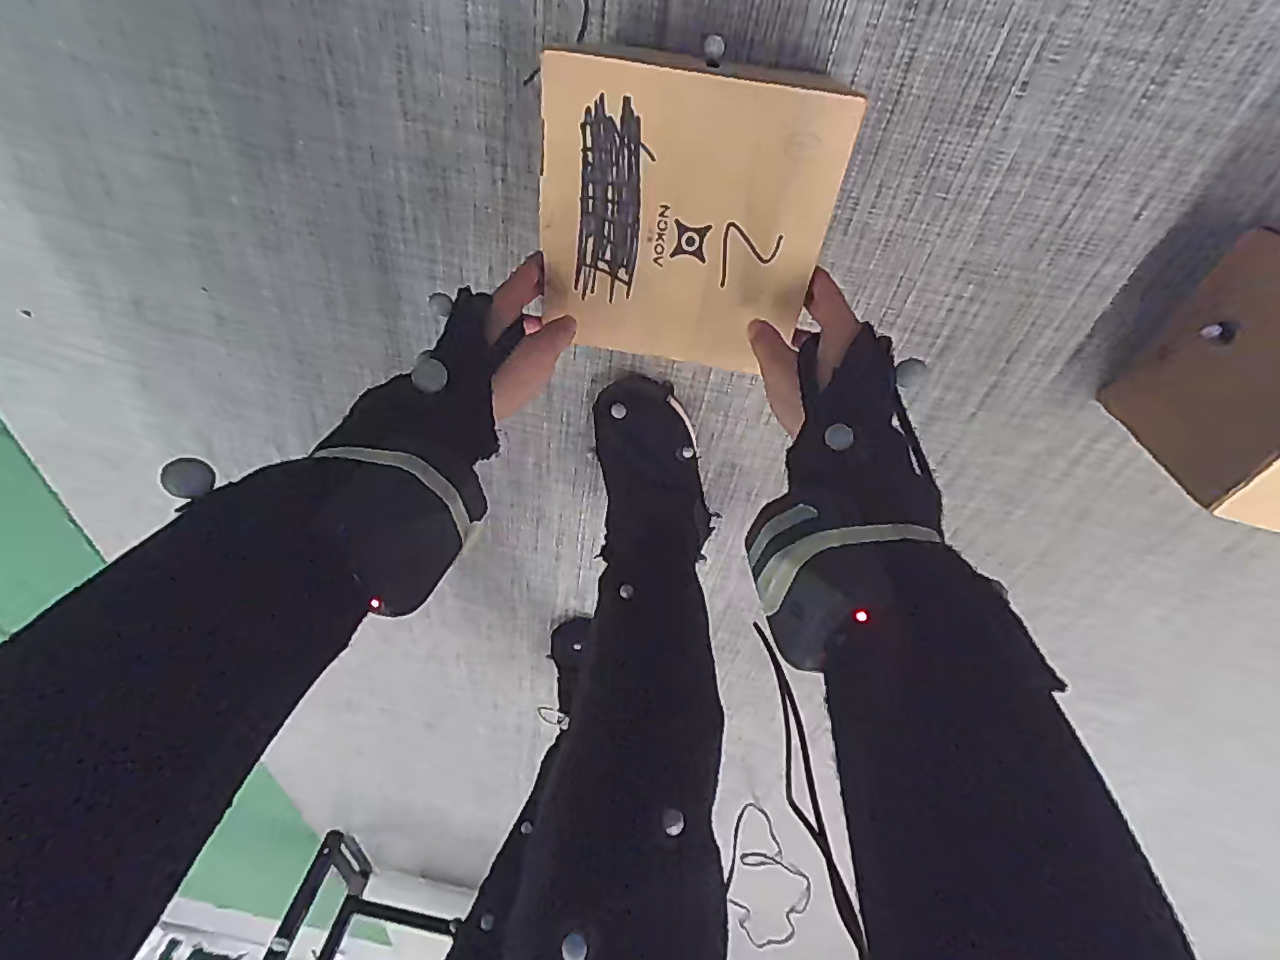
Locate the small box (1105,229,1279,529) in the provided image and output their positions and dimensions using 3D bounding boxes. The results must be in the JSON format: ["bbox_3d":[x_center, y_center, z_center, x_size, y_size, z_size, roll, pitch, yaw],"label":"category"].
[{"bbox_3d":[0.526,-0.069,0.408,0.179,0.176,0.168,14,131,0],"label":"small box"}]
